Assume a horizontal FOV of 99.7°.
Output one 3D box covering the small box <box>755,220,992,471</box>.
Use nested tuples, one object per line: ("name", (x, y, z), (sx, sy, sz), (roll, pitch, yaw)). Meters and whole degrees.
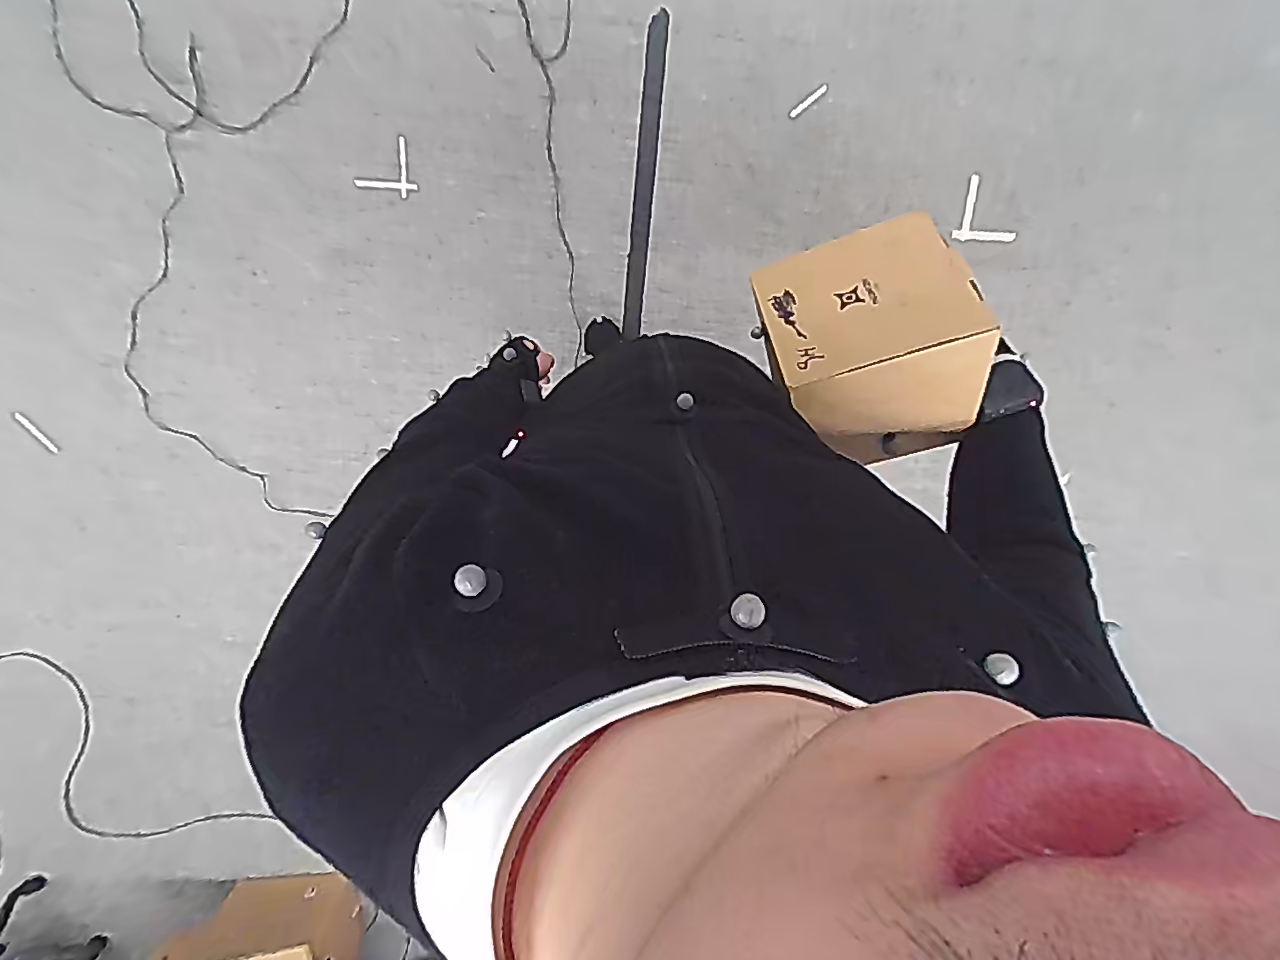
("small box", (0.235, -0.134, 0.583), (0.179, 0.168, 0.176), (-15, 145, 13))
